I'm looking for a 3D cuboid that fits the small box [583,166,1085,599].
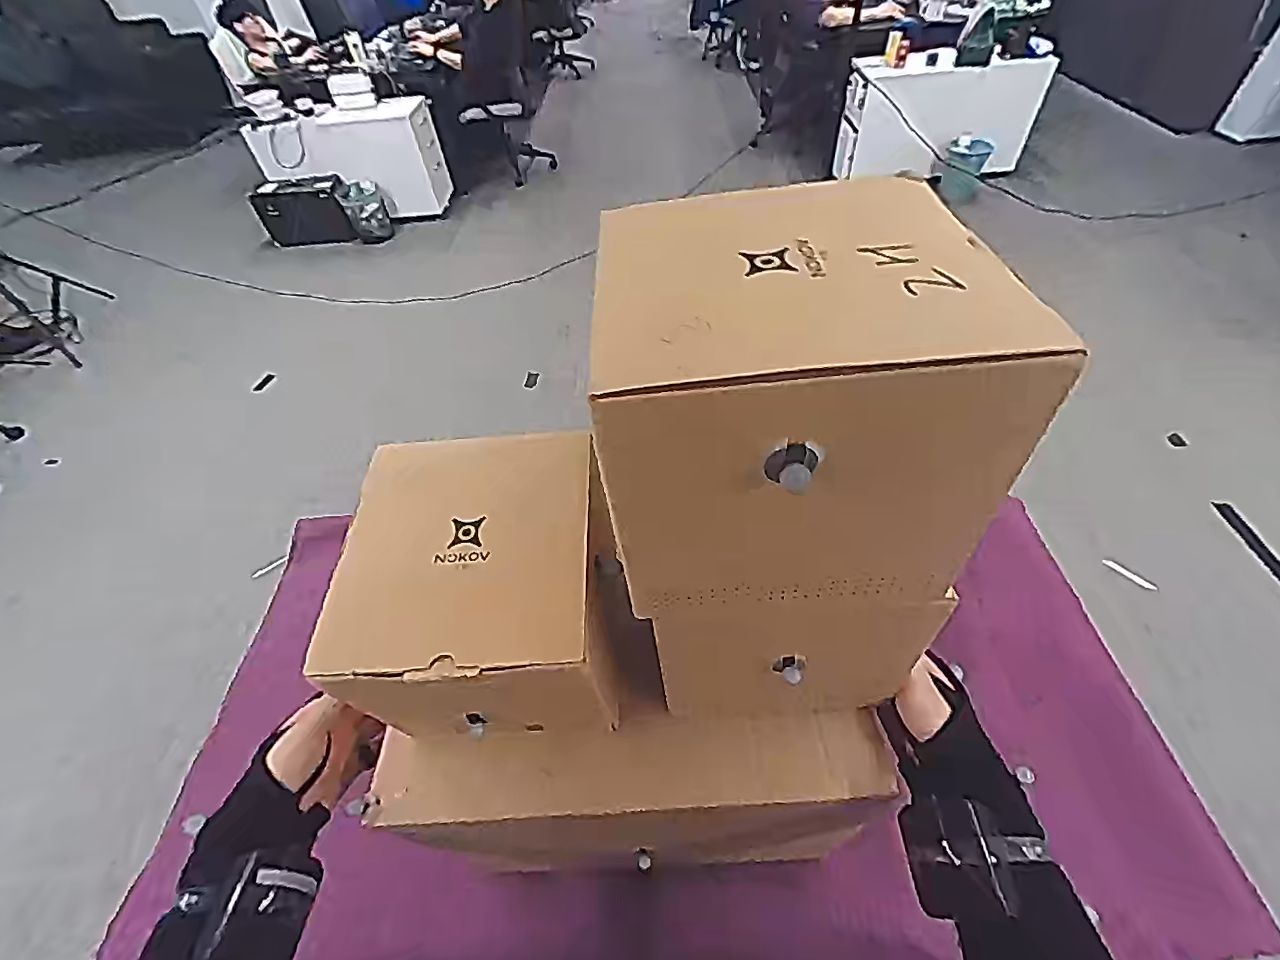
[{"bbox_3d":[0.074,-0.046,0.299,0.179,0.176,0.168,-4,48,4],"label":"small box"}]
